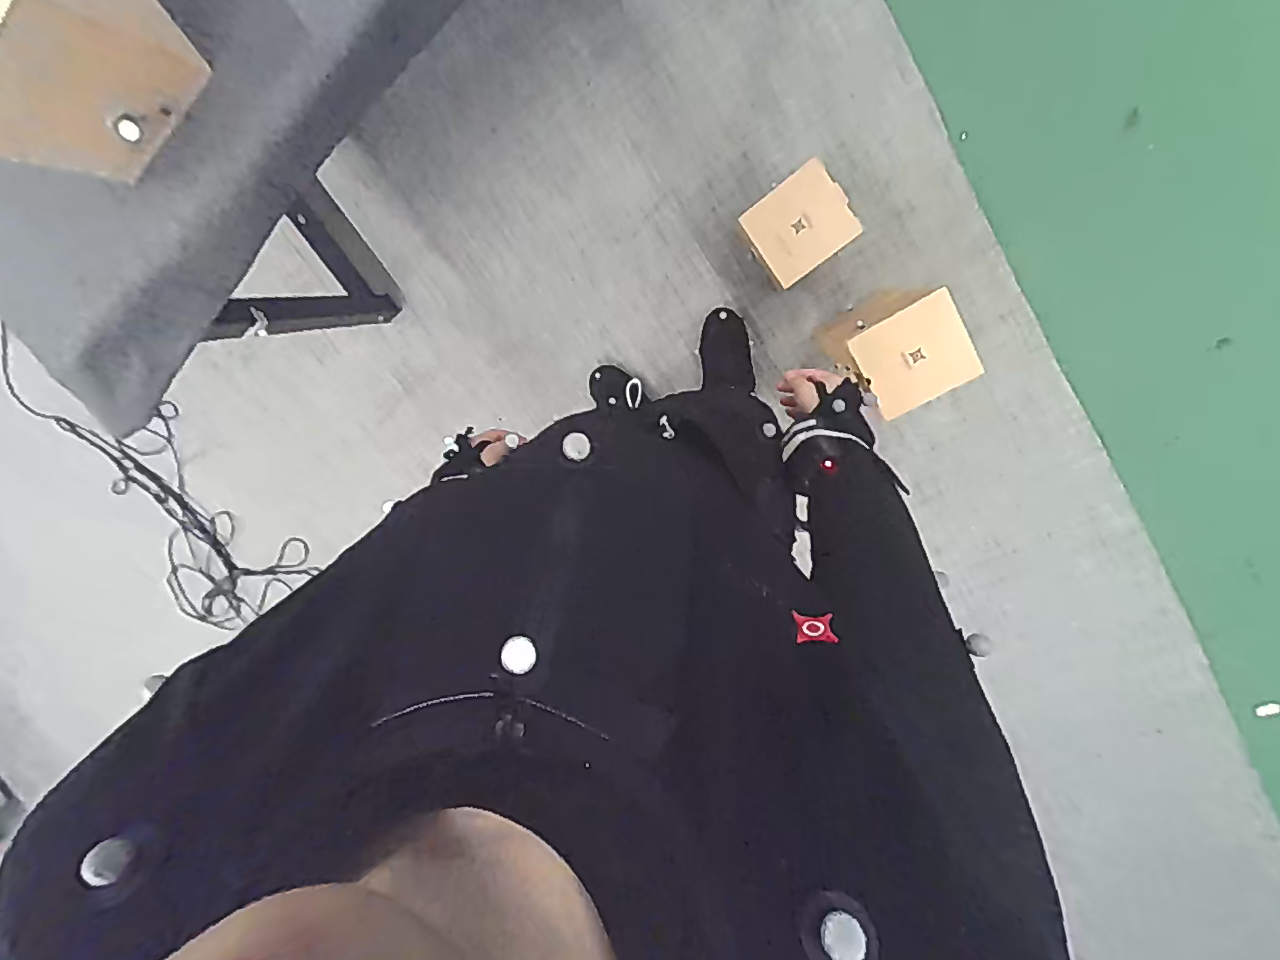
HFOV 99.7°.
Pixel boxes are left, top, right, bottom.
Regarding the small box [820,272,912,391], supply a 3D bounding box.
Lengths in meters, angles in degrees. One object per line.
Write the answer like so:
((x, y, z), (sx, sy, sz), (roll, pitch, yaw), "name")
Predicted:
((0.492, -0.313, 1.129), (0.179, 0.176, 0.168), (-30, 104, 19), "small box")

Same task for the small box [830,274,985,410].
((0.471, -0.255, 0.977), (0.179, 0.176, 0.168), (-29, 104, 18), "small box")

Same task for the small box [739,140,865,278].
((0.311, -0.528, 1.078), (0.179, 0.176, 0.168), (-35, 100, 20), "small box")

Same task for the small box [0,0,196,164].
((-0.560, -0.415, 0.471), (0.168, 0.176, 0.179), (-33, 103, 19), "small box")
